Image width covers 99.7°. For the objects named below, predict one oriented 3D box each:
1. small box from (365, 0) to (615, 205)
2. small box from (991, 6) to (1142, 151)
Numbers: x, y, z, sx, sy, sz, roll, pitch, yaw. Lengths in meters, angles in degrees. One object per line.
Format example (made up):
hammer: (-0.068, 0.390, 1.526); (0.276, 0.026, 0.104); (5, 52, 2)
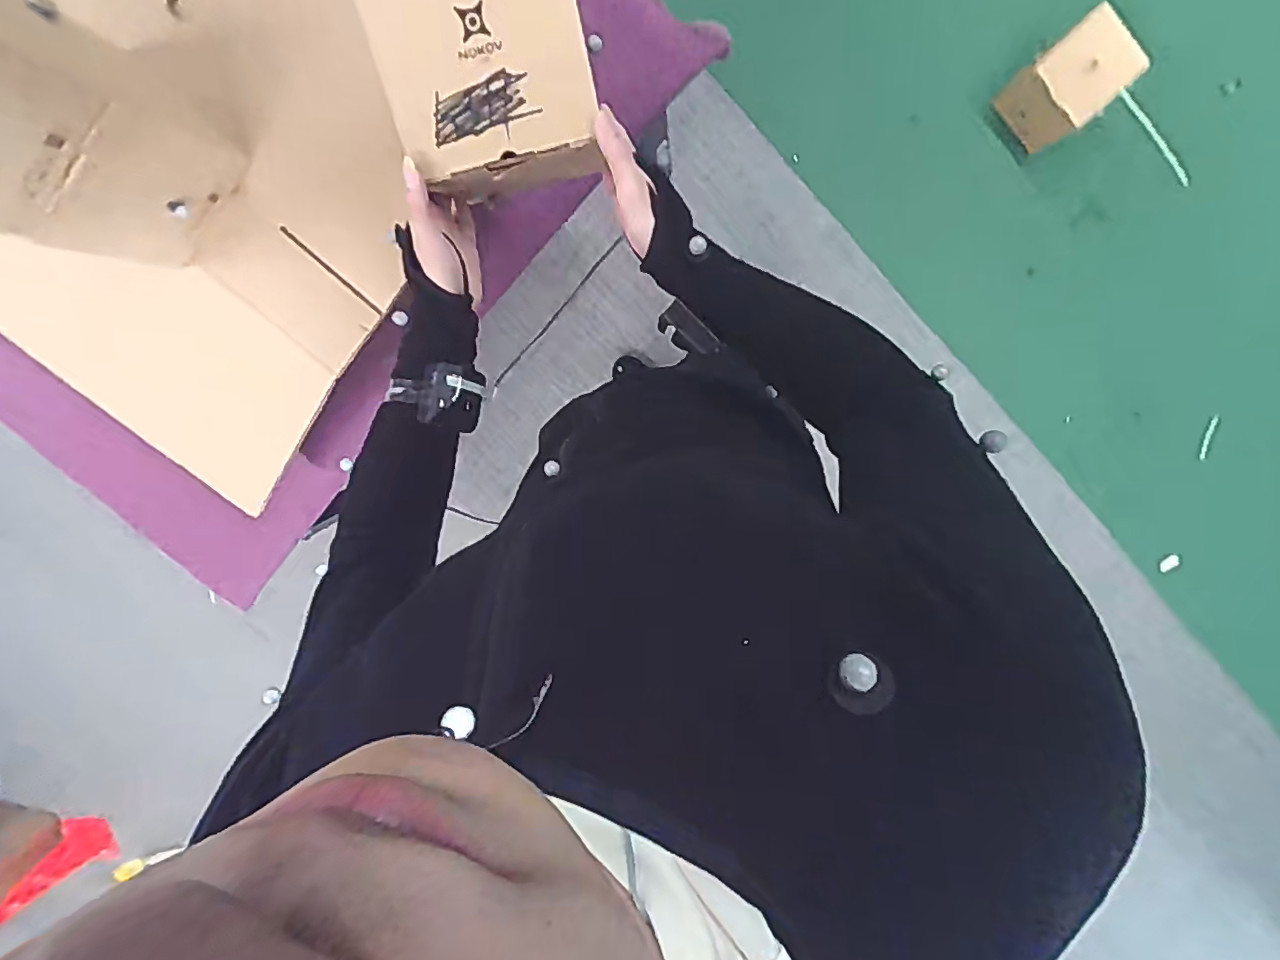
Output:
small box: (-0.119, -0.364, 0.494); (0.168, 0.176, 0.179); (-12, 111, 3)
small box: (0.968, -0.909, 1.246); (0.168, 0.176, 0.179); (45, 104, -8)
